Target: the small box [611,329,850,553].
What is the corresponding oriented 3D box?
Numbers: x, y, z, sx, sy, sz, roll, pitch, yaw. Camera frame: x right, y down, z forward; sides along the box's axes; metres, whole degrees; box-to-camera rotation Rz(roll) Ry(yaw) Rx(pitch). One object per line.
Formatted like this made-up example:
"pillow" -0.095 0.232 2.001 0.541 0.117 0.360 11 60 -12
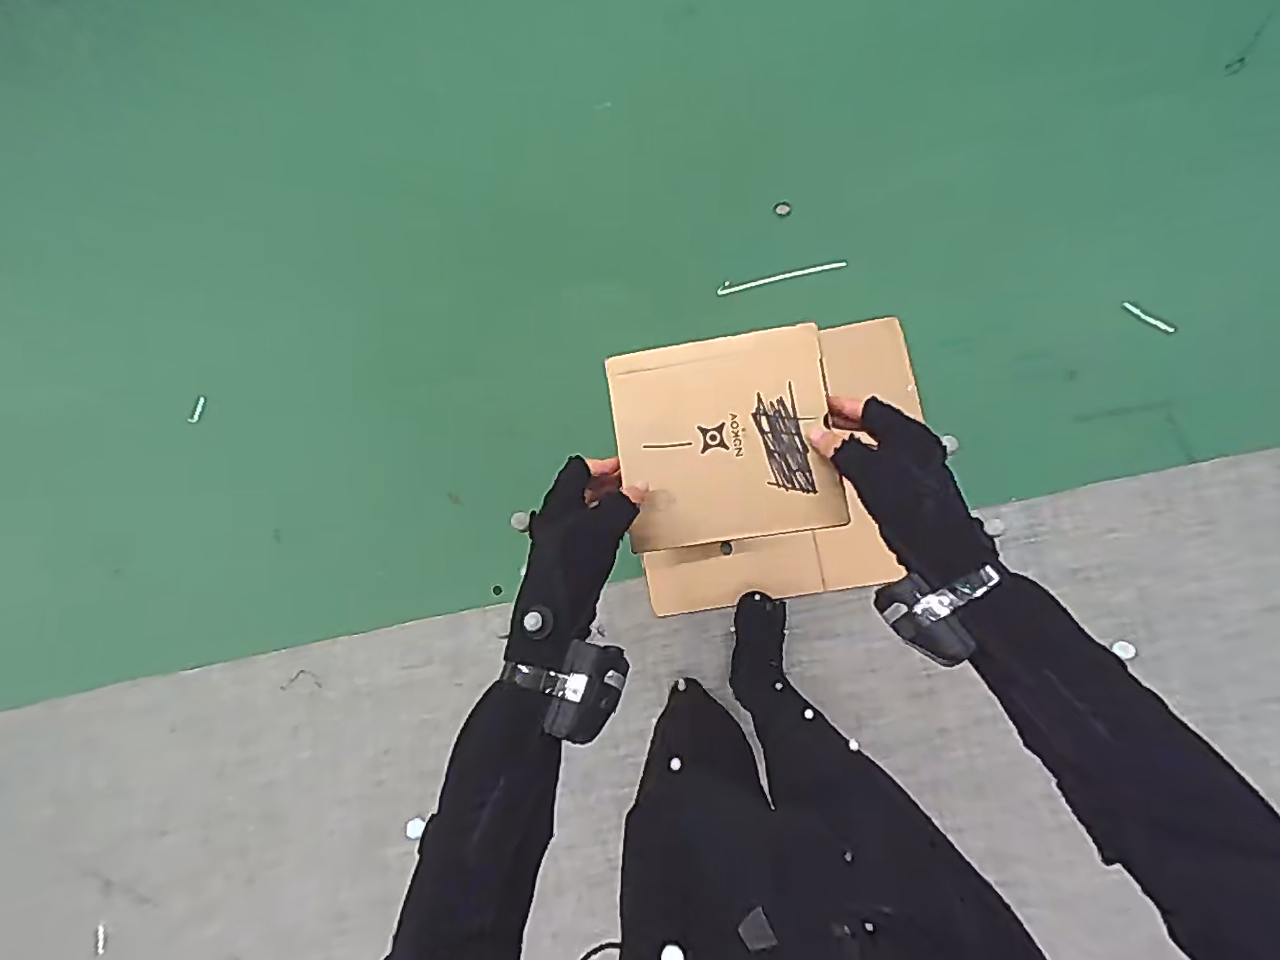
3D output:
"small box" 0.078 -0.026 0.516 0.179 0.176 0.168 -9 85 6
